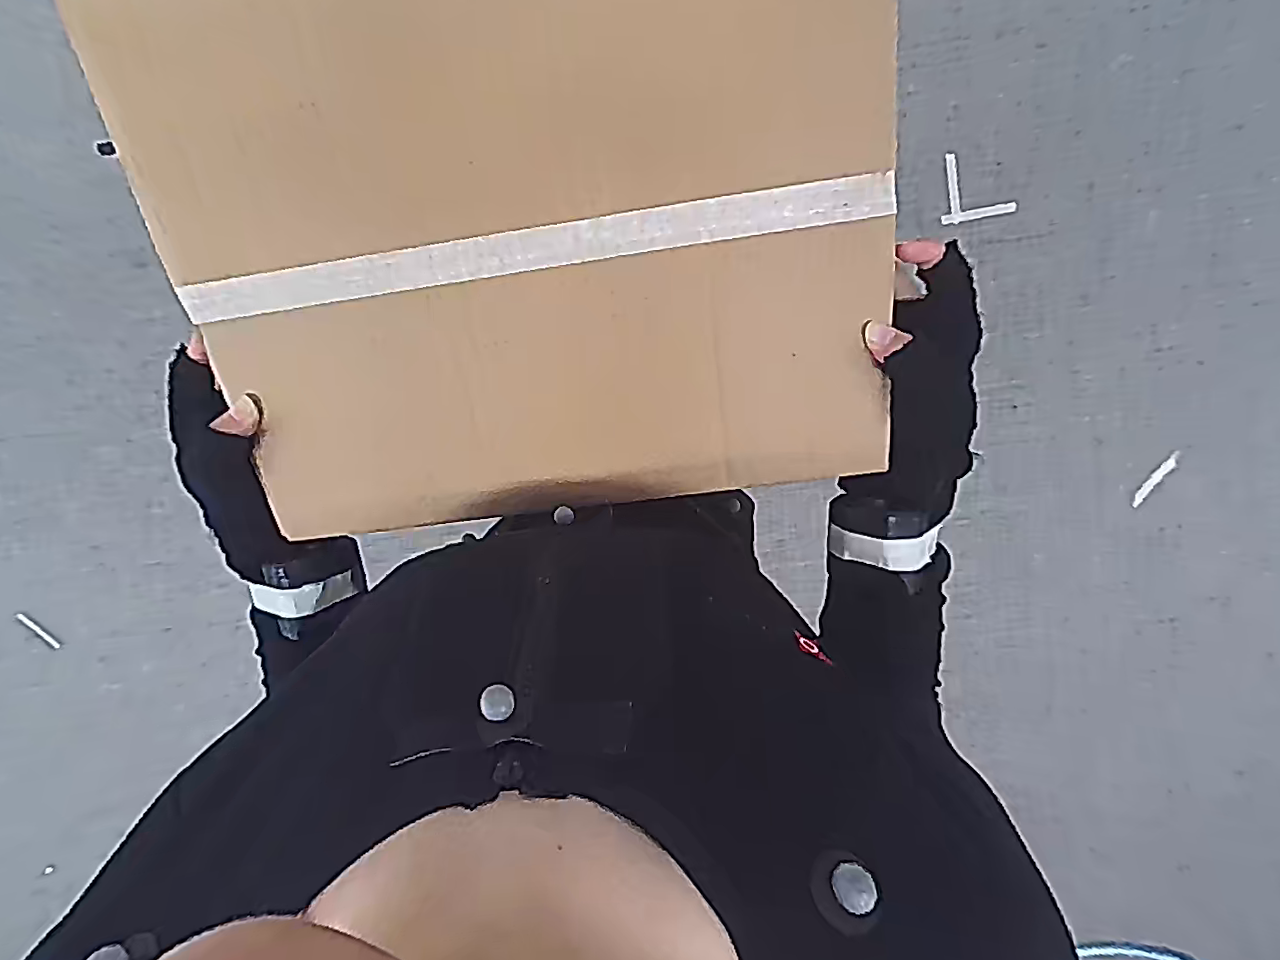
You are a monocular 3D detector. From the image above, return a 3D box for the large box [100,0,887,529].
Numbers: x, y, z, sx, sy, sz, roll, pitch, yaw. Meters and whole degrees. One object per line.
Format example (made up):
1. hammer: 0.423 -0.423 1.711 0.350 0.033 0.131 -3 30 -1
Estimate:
1. large box: -0.060 -0.184 0.451 0.408 0.320 0.320 -7 111 4
